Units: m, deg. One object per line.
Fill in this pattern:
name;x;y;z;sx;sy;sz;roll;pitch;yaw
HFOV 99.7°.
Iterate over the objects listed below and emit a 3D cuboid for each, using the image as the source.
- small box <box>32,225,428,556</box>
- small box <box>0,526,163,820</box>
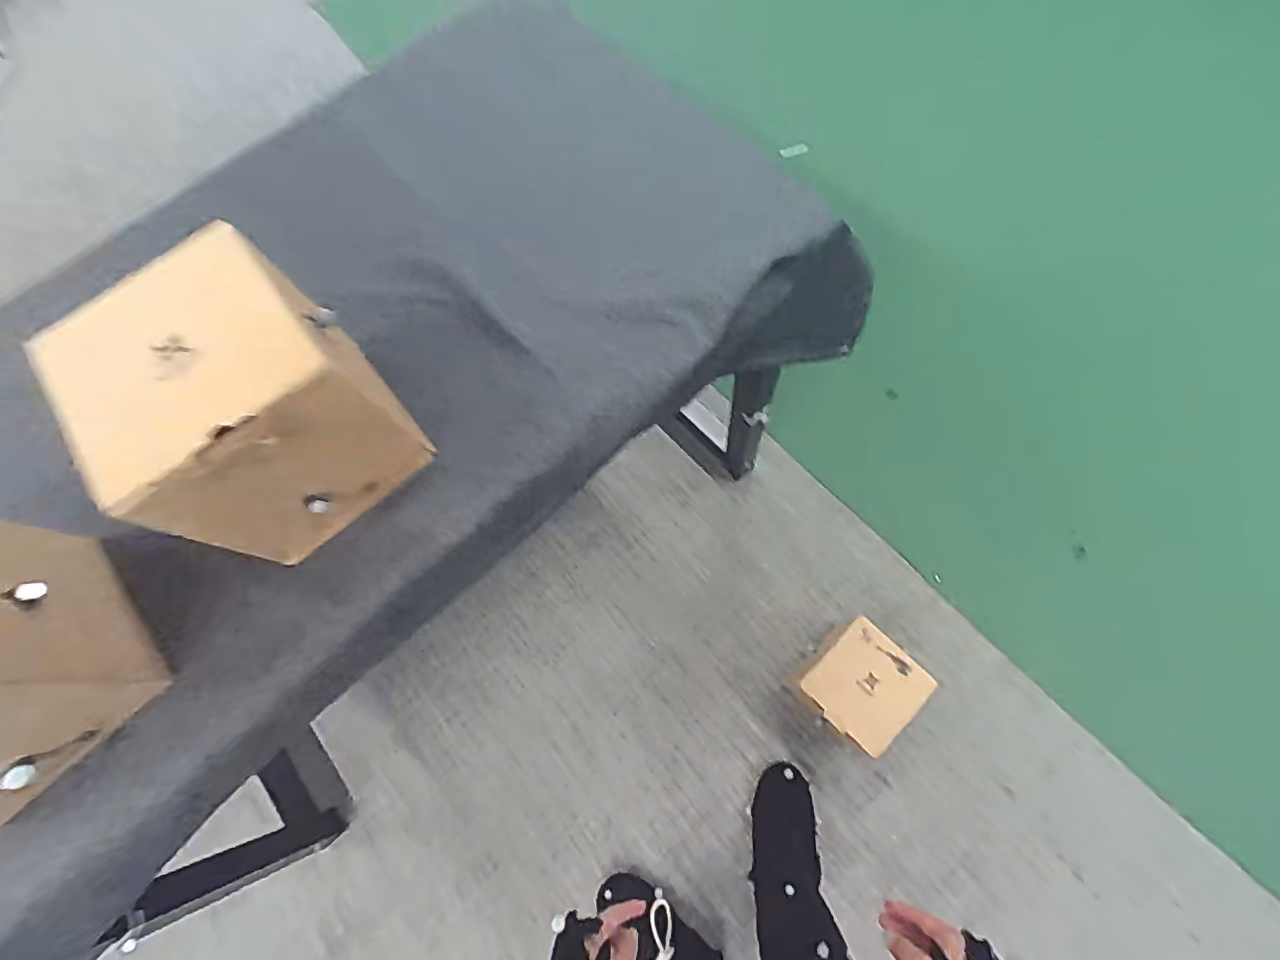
small box;-0.317;-0.060;0.451;0.168;0.176;0.179;-39;72;-9
small box;-0.522;0.143;0.397;0.168;0.176;0.179;-43;73;-10
